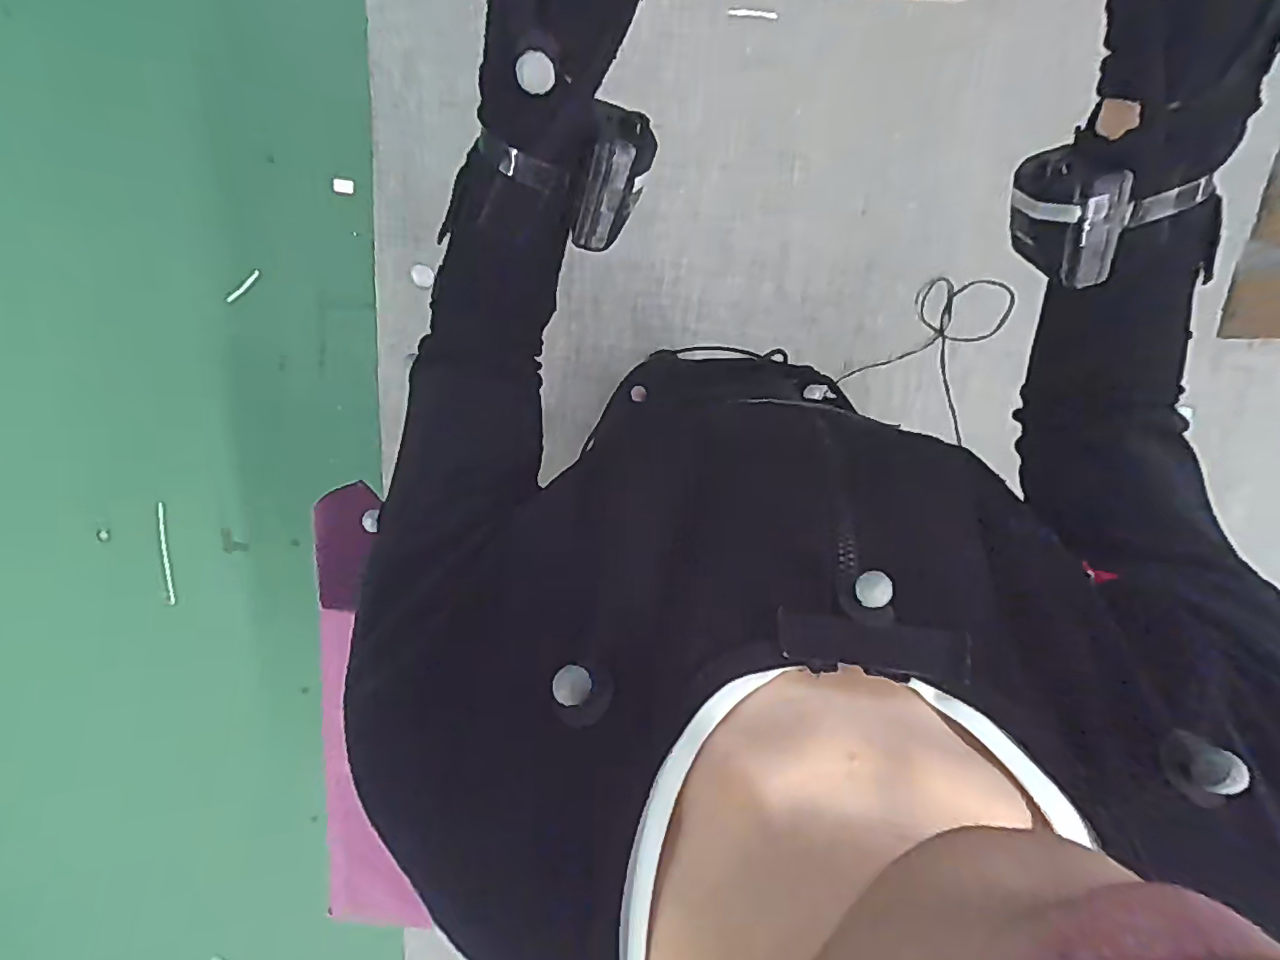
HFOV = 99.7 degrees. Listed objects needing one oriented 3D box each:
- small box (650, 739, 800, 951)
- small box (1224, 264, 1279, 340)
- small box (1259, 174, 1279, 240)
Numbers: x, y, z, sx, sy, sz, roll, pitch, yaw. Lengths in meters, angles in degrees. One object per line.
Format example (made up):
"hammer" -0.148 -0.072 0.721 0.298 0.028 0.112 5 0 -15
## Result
"small box" 0.110 0.512 0.776 0.168 0.176 0.179 10 104 -2
"small box" 1.545 -0.412 1.252 0.179 0.176 0.168 2 104 0
"small box" 1.571 -0.630 1.198 0.179 0.176 0.168 5 103 1
